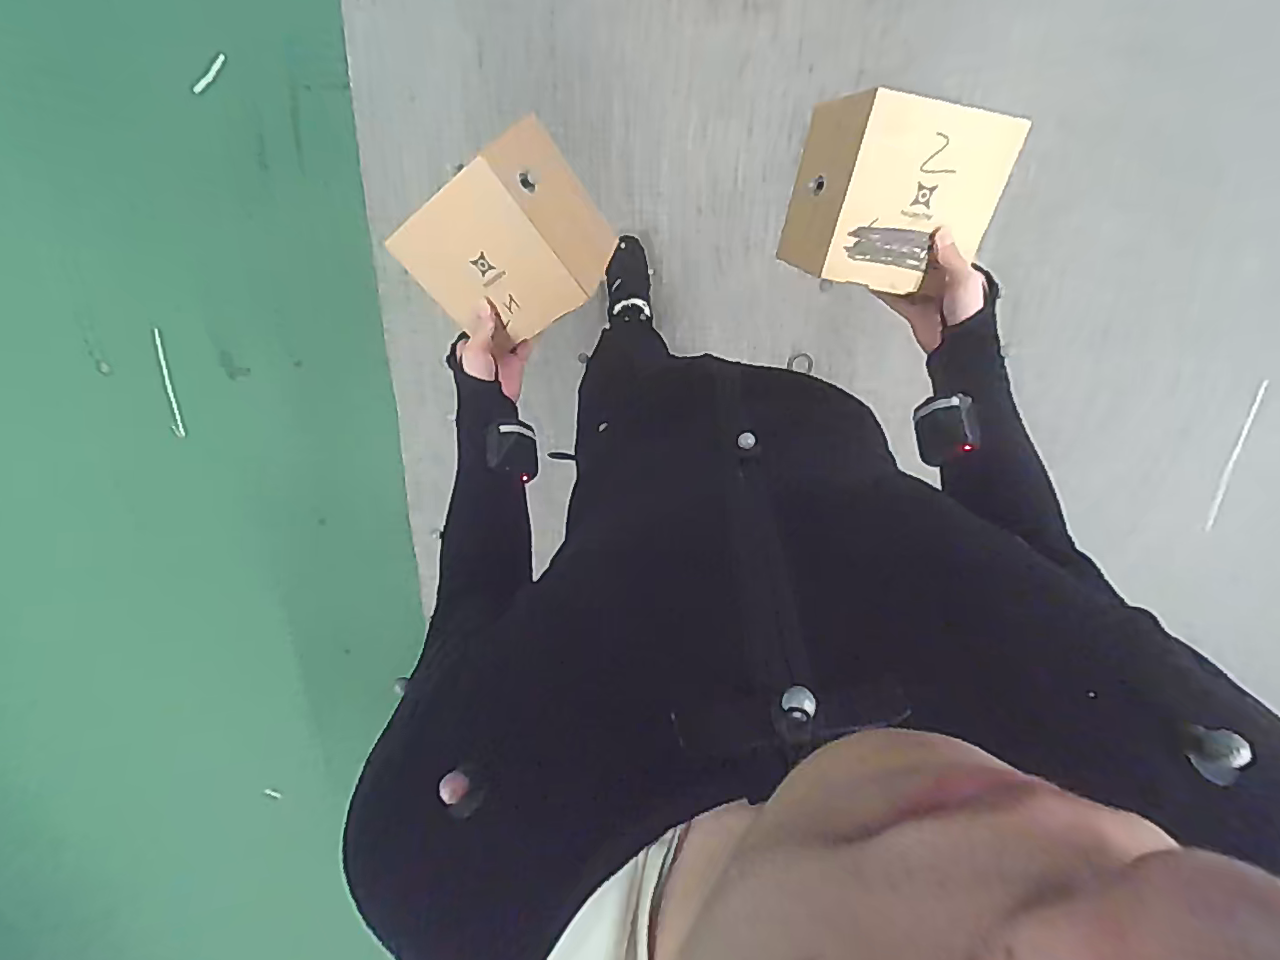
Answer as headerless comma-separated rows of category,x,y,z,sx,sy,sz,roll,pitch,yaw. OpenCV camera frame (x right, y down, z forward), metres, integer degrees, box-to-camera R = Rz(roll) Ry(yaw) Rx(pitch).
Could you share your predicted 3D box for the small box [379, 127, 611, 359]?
small box,-0.157,-0.284,0.643,0.168,0.176,0.179,-19,128,29
